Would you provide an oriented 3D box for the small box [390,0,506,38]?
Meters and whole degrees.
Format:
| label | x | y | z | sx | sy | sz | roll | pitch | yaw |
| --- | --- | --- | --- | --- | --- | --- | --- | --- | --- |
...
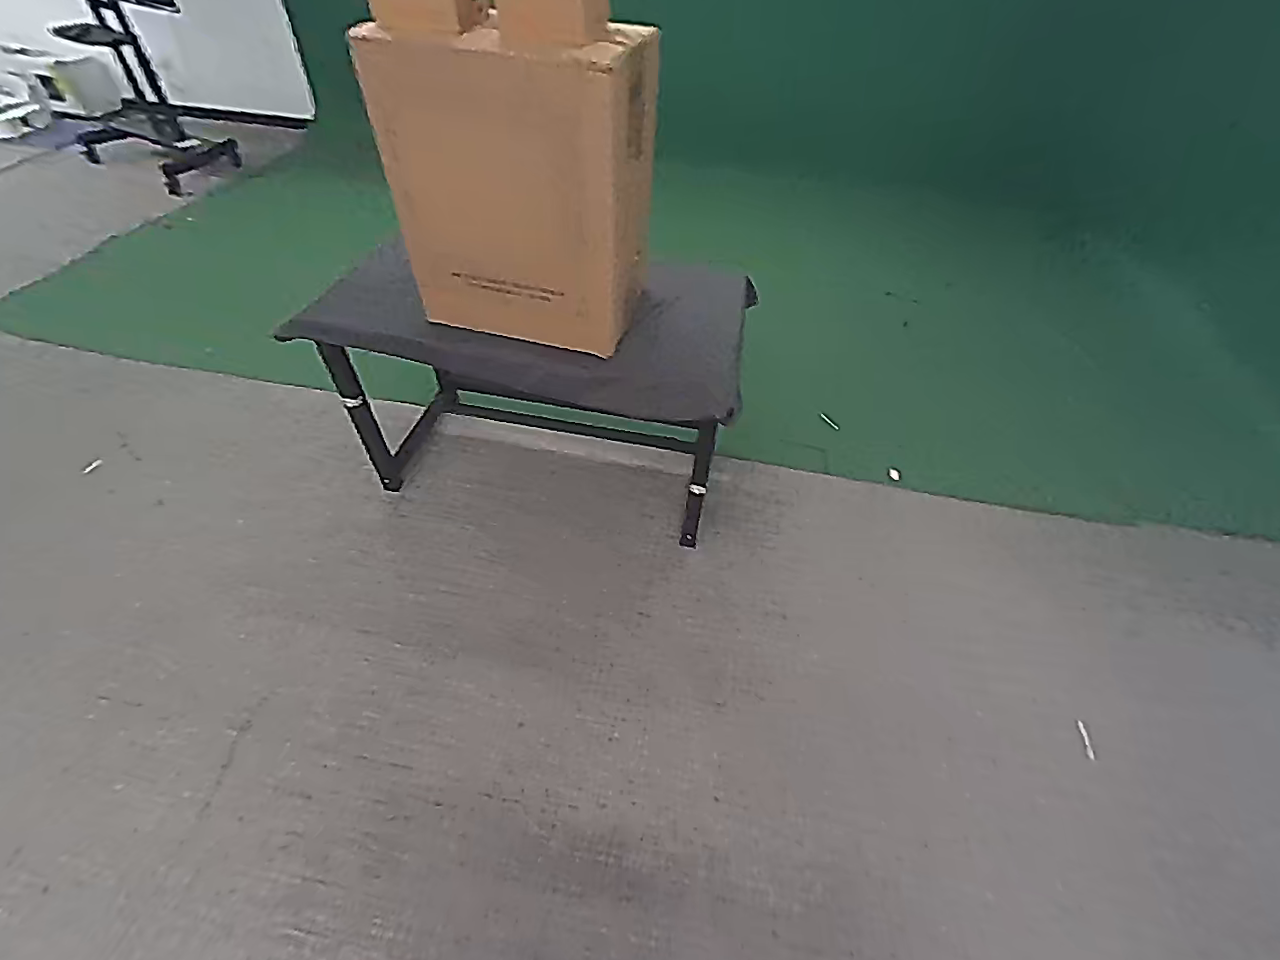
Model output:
| label | x | y | z | sx | sy | sz | roll | pitch | yaw |
| --- | --- | --- | --- | --- | --- | --- | --- | --- | --- |
| small box | -0.385 | -0.986 | 1.052 | 0.179 | 0.176 | 0.168 | 13 | 53 | 10 |

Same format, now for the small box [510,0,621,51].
| label | x | y | z | sx | sy | sz | roll | pitch | yaw |
| --- | --- | --- | --- | --- | --- | --- | --- | --- | --- |
| small box | -0.138 | -0.938 | 1.025 | 0.179 | 0.176 | 0.168 | 12 | 50 | 9 |
